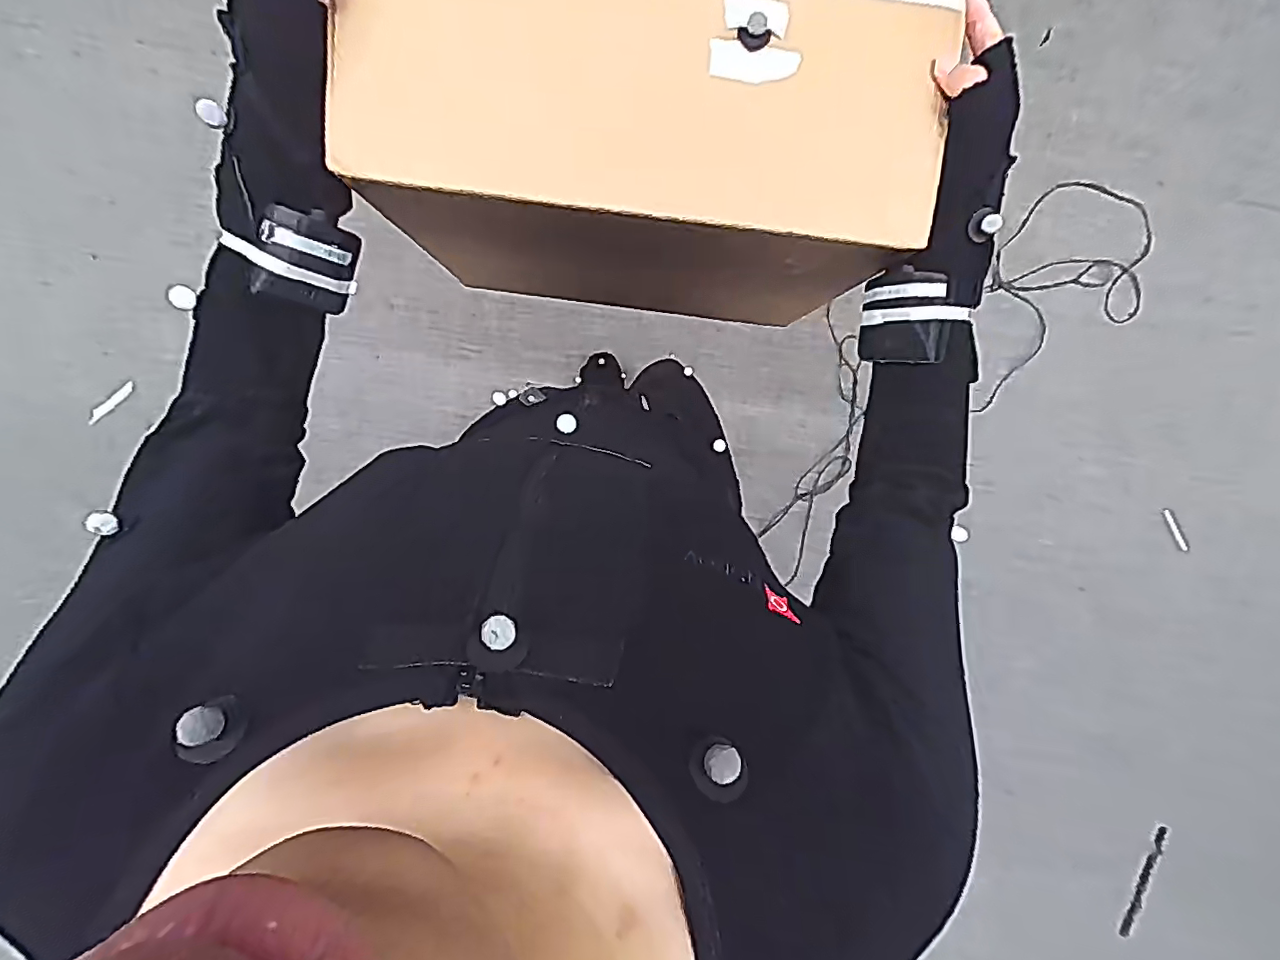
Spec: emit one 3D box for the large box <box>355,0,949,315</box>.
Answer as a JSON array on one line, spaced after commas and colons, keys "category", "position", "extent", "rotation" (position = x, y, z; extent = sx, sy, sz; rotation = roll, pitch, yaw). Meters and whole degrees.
[{"category": "large box", "position": [0.009, -0.359, 0.511], "extent": [0.408, 0.320, 0.320], "rotation": [6, 96, -3]}]
